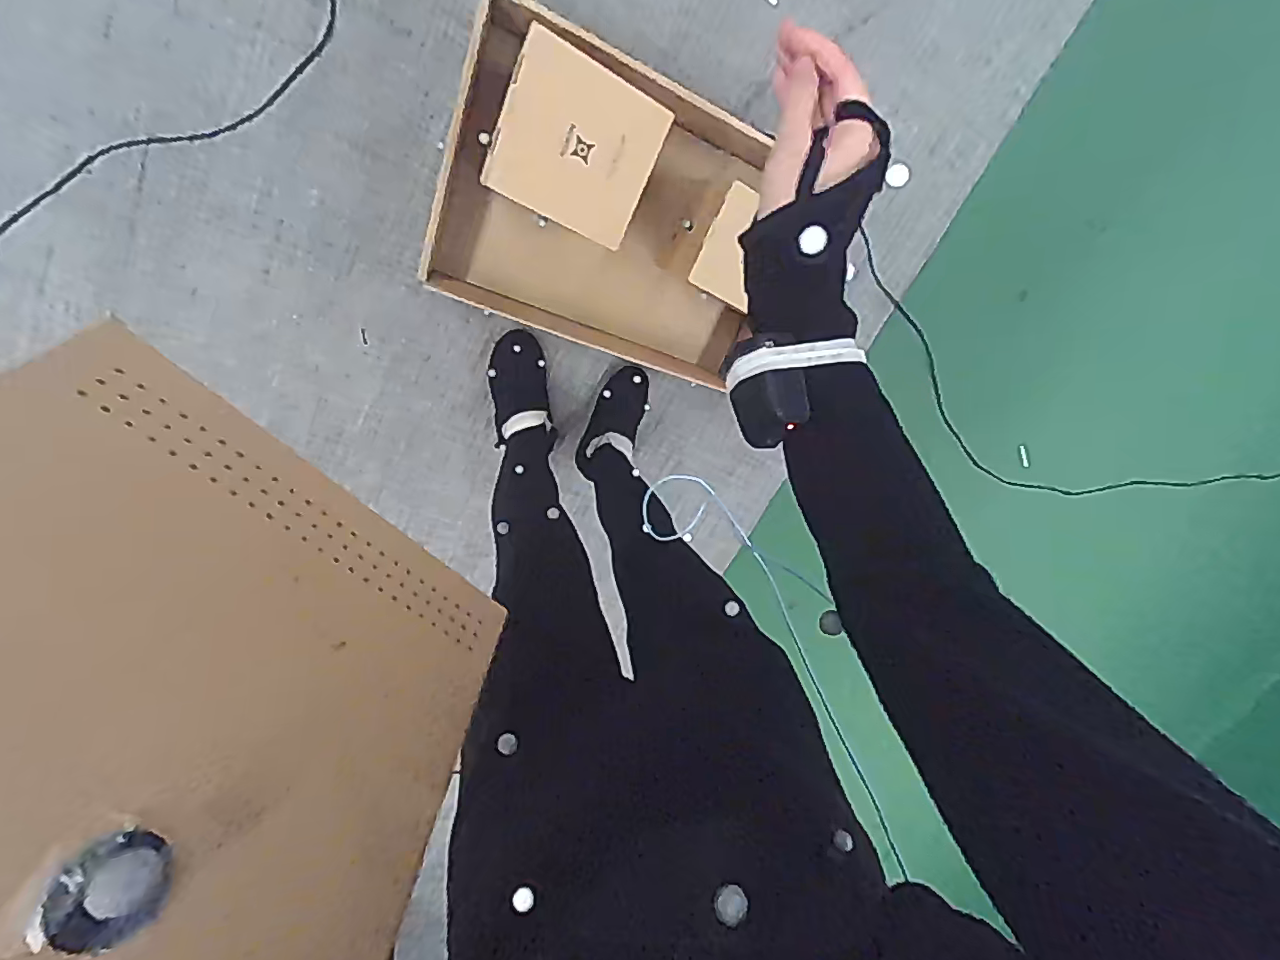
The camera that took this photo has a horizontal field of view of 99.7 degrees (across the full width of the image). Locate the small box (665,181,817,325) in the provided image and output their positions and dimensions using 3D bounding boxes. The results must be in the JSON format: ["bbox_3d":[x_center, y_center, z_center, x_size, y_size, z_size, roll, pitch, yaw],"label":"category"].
[{"bbox_3d":[0.166,-0.401,0.959,0.179,0.176,0.168,21,110,-24],"label":"small box"}]

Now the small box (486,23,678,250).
[{"bbox_3d":[-0.085,-0.417,0.685,0.179,0.176,0.168,19,112,-25],"label":"small box"}]
